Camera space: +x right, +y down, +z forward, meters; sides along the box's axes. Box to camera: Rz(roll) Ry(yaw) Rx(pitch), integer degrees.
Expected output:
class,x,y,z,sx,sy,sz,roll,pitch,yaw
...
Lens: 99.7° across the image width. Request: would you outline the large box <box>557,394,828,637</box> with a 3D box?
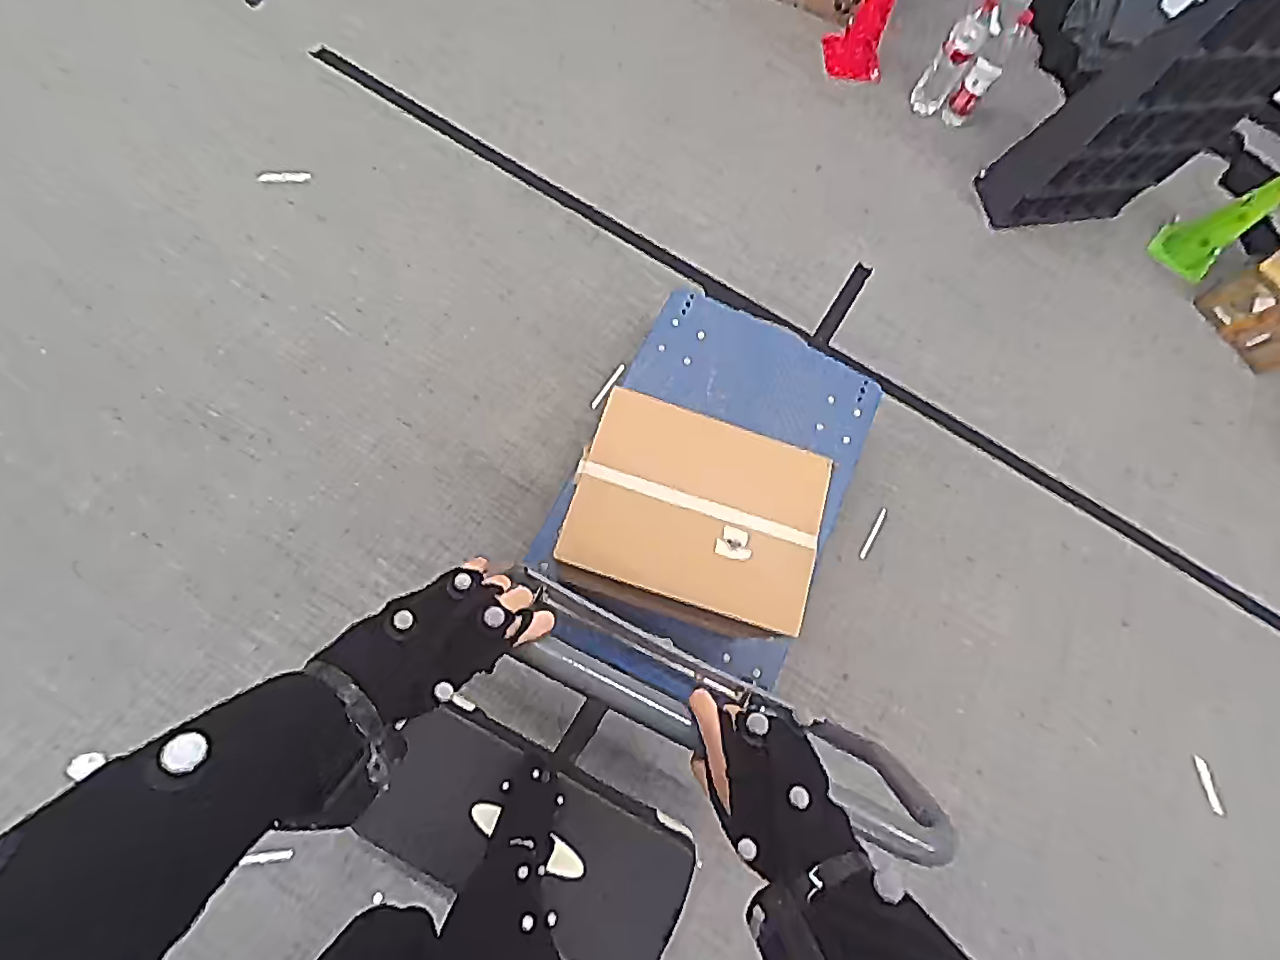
class,x,y,z,sx,sy,sz,roll,pitch,yaw
large box,0.078,0.090,1.031,0.408,0.320,0.320,19,73,-3
